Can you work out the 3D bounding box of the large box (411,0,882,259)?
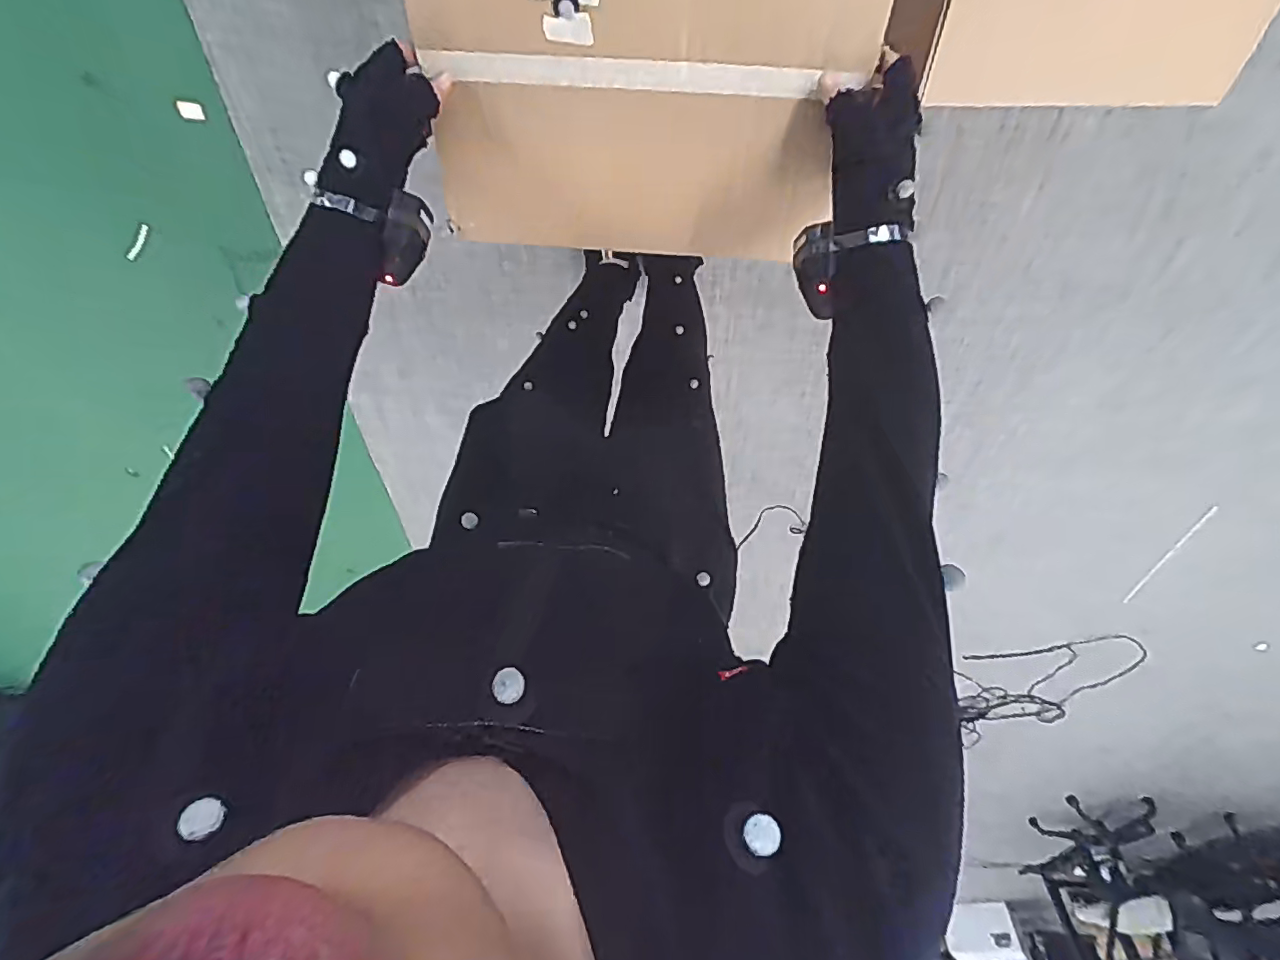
[{"bbox_3d":[0.010,-0.466,0.593,0.408,0.320,0.320,4,133,1],"label":"large box"}]
